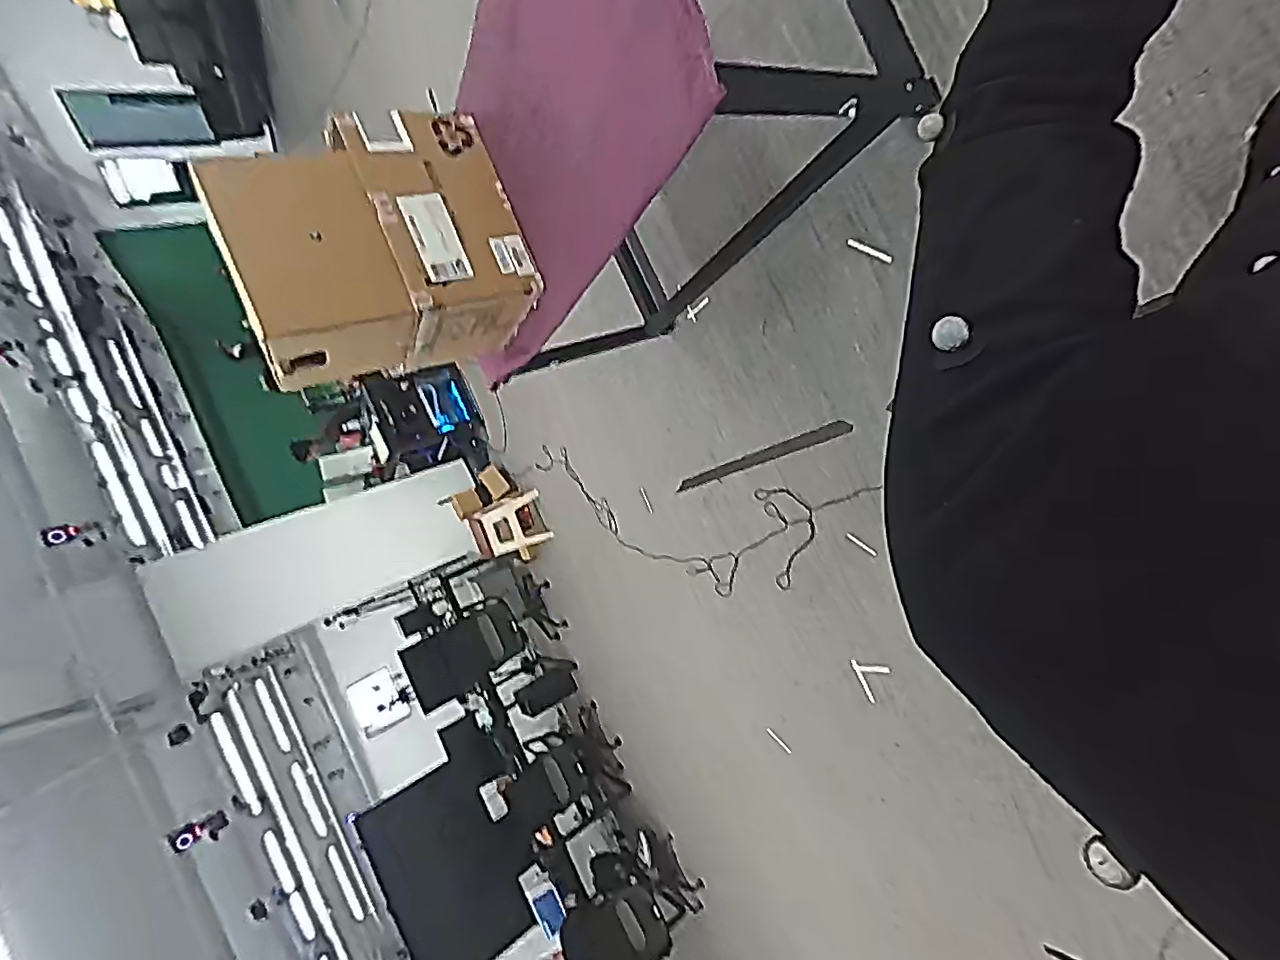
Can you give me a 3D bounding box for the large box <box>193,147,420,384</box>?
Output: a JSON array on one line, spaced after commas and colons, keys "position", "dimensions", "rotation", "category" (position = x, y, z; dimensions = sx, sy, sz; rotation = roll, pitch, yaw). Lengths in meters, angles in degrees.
[{"position": [-0.764, -0.499, 1.281], "dimensions": [0.320, 0.320, 0.408], "rotation": [-26, 88, 61], "category": "large box"}]
